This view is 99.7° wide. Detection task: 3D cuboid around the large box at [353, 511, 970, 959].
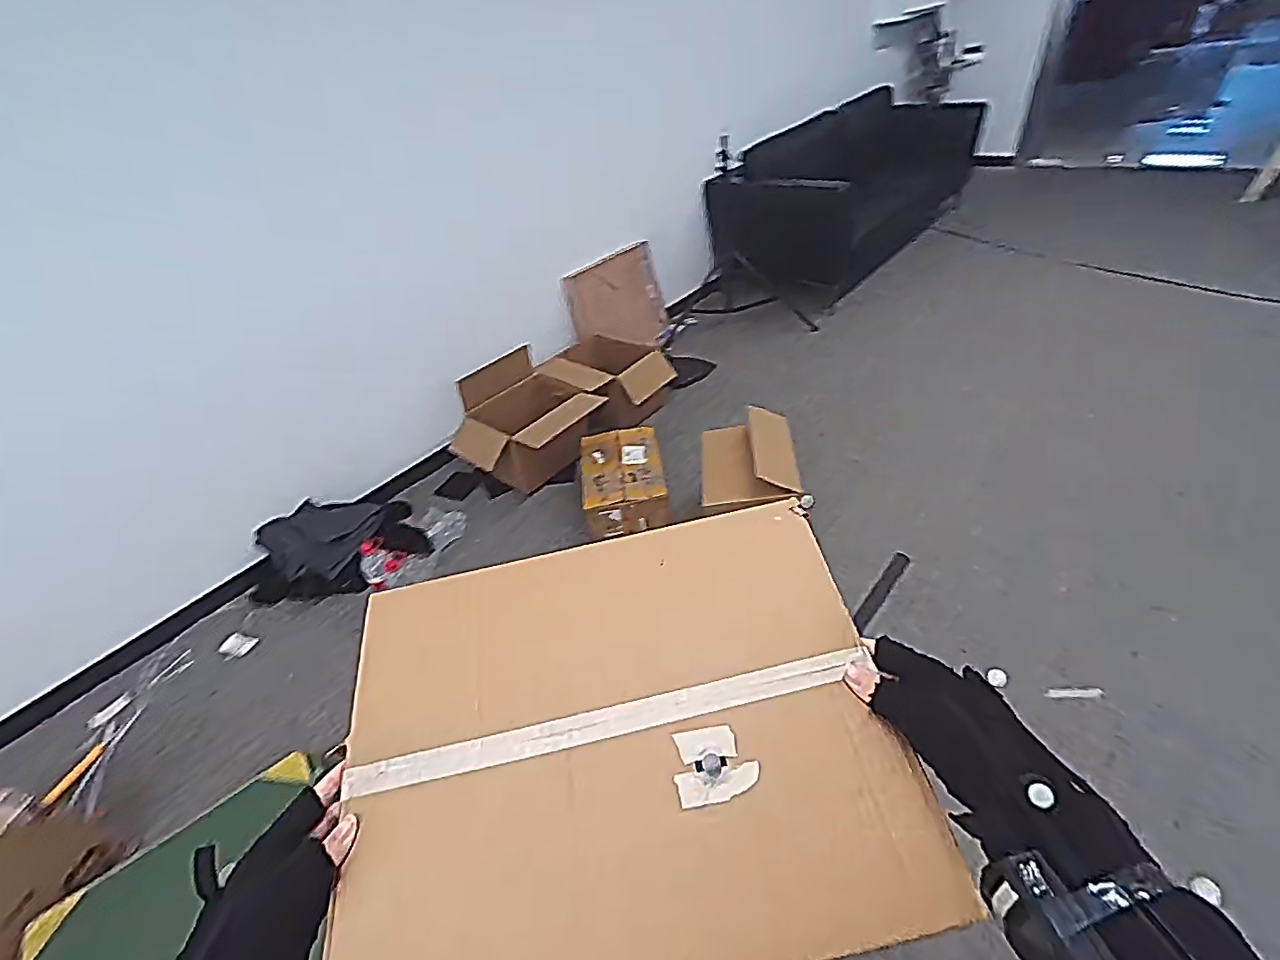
[{"bbox_3d":[0.002,0.279,0.537,0.408,0.320,0.320,-12,53,-1],"label":"large box"}]
